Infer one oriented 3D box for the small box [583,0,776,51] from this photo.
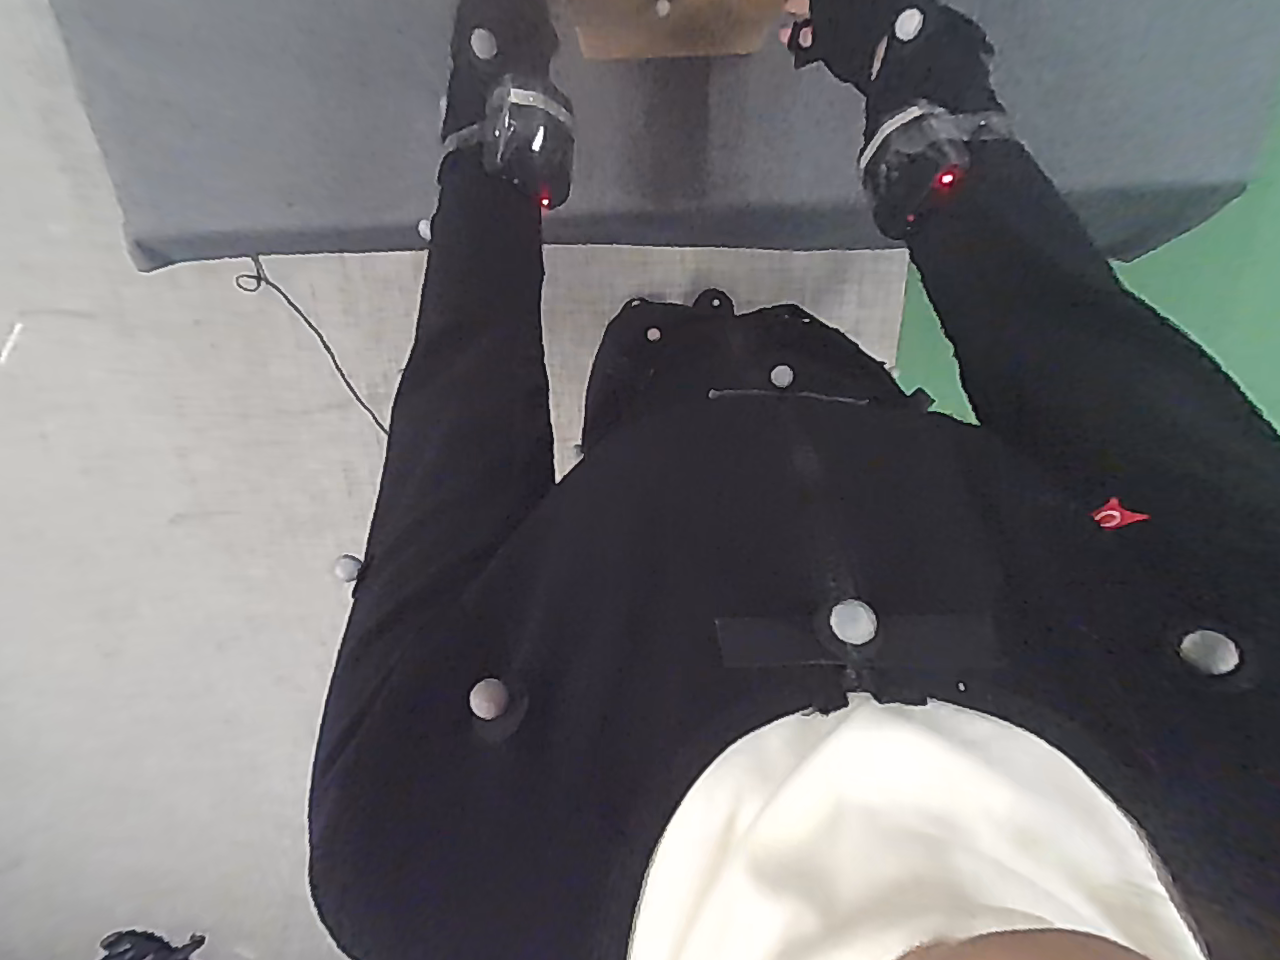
[{"bbox_3d":[0.033,-0.480,0.440,0.179,0.176,0.168,-2,110,1],"label":"small box"}]
